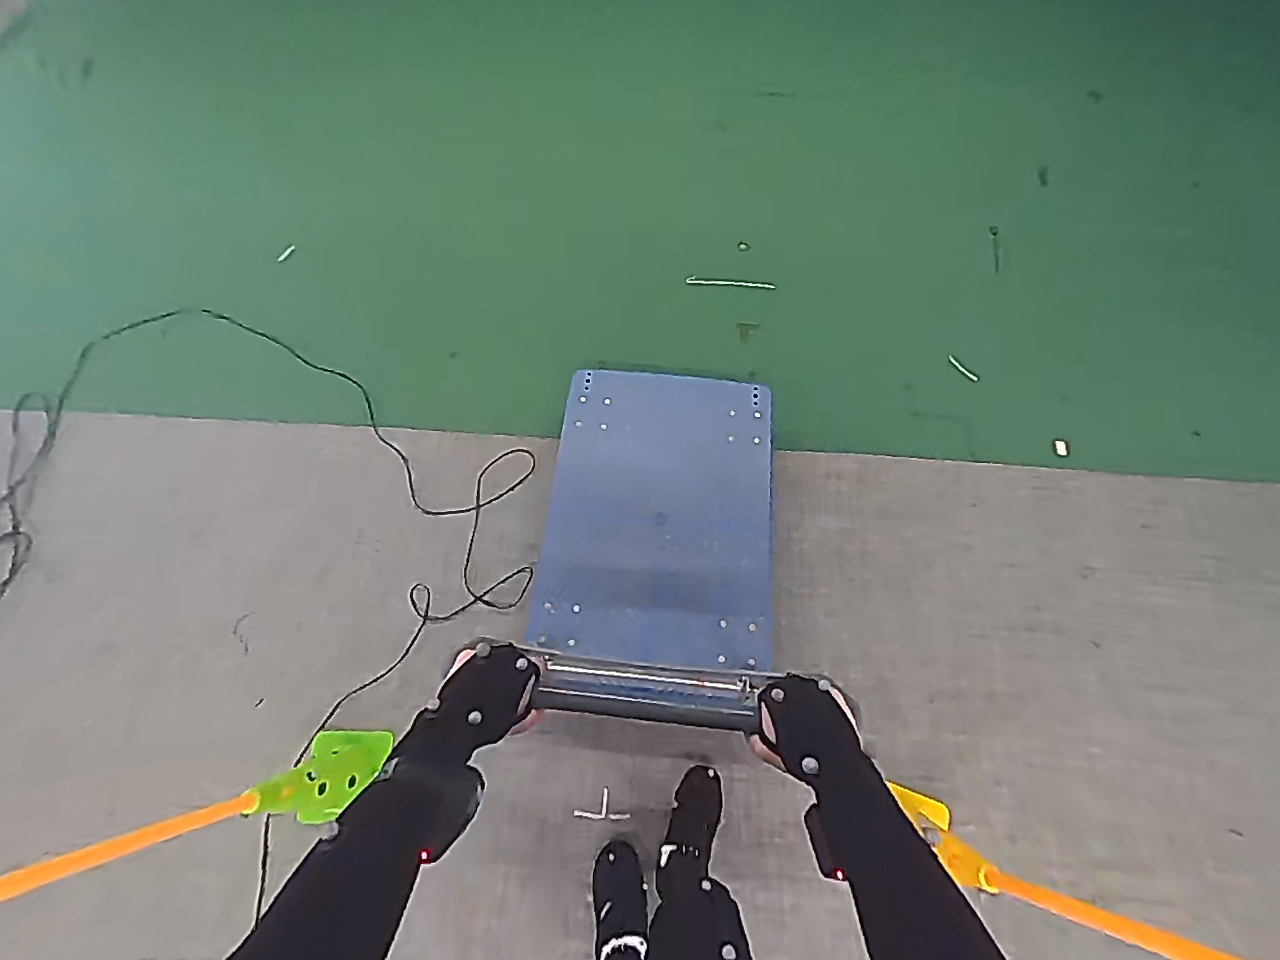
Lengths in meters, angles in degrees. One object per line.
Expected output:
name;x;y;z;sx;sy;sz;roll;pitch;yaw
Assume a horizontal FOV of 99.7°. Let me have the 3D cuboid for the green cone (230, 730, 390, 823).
green cone;-0.721;0.650;1.154;0.202;0.368;0.200;-1;67;2
